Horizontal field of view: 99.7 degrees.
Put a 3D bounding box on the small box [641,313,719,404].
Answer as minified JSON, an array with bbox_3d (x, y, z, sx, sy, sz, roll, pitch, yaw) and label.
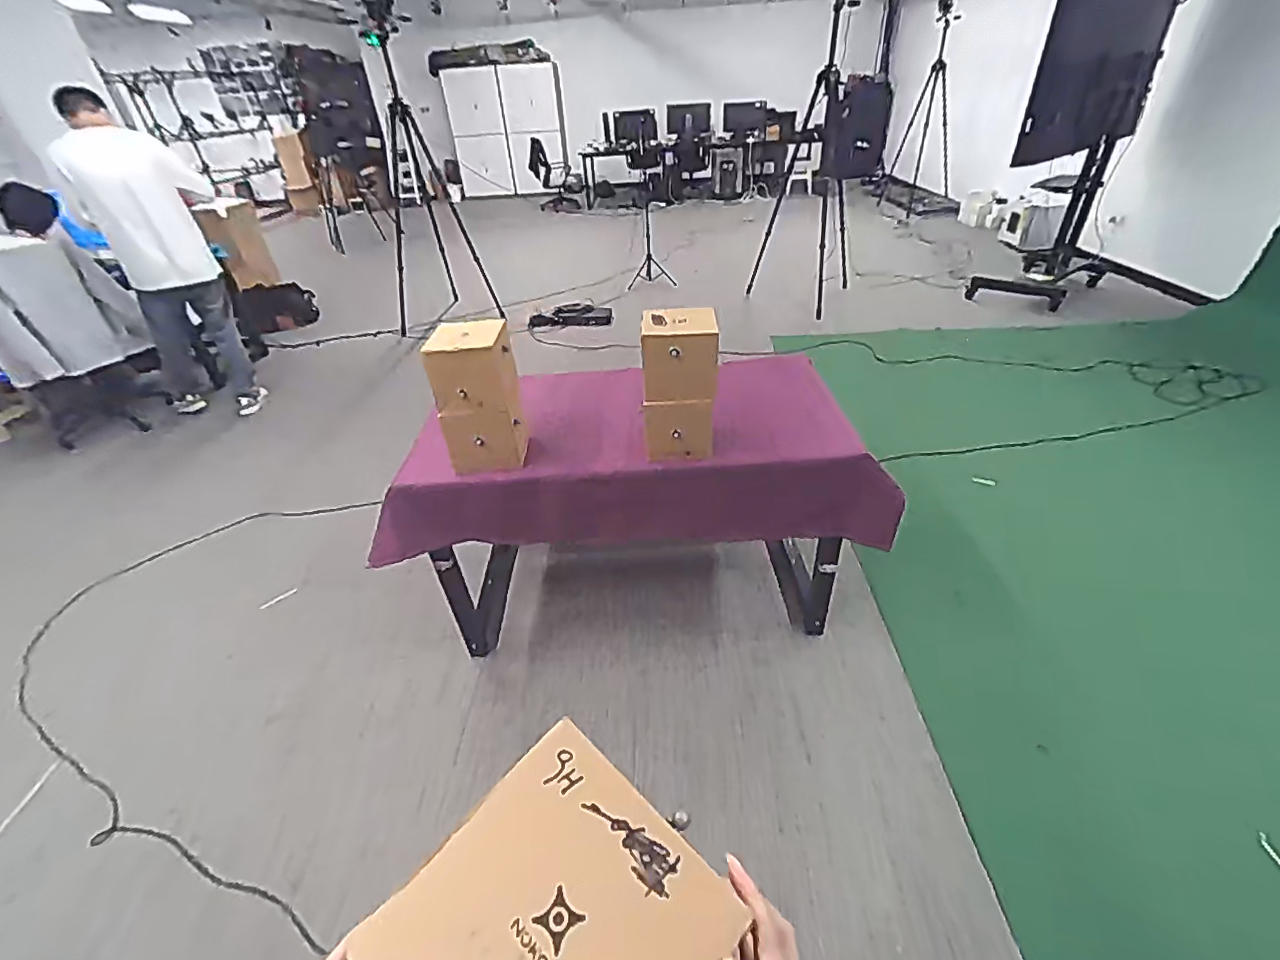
[{"bbox_3d":[0.097,-0.291,1.301,0.179,0.176,0.168,-1,36,3],"label":"small box"}]

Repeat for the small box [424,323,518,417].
[{"bbox_3d":[-0.400,-0.268,1.315,0.168,0.176,0.179,-4,36,0],"label":"small box"}]

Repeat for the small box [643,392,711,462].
[{"bbox_3d":[0.097,-0.156,1.396,0.168,0.176,0.179,-1,36,3],"label":"small box"}]
